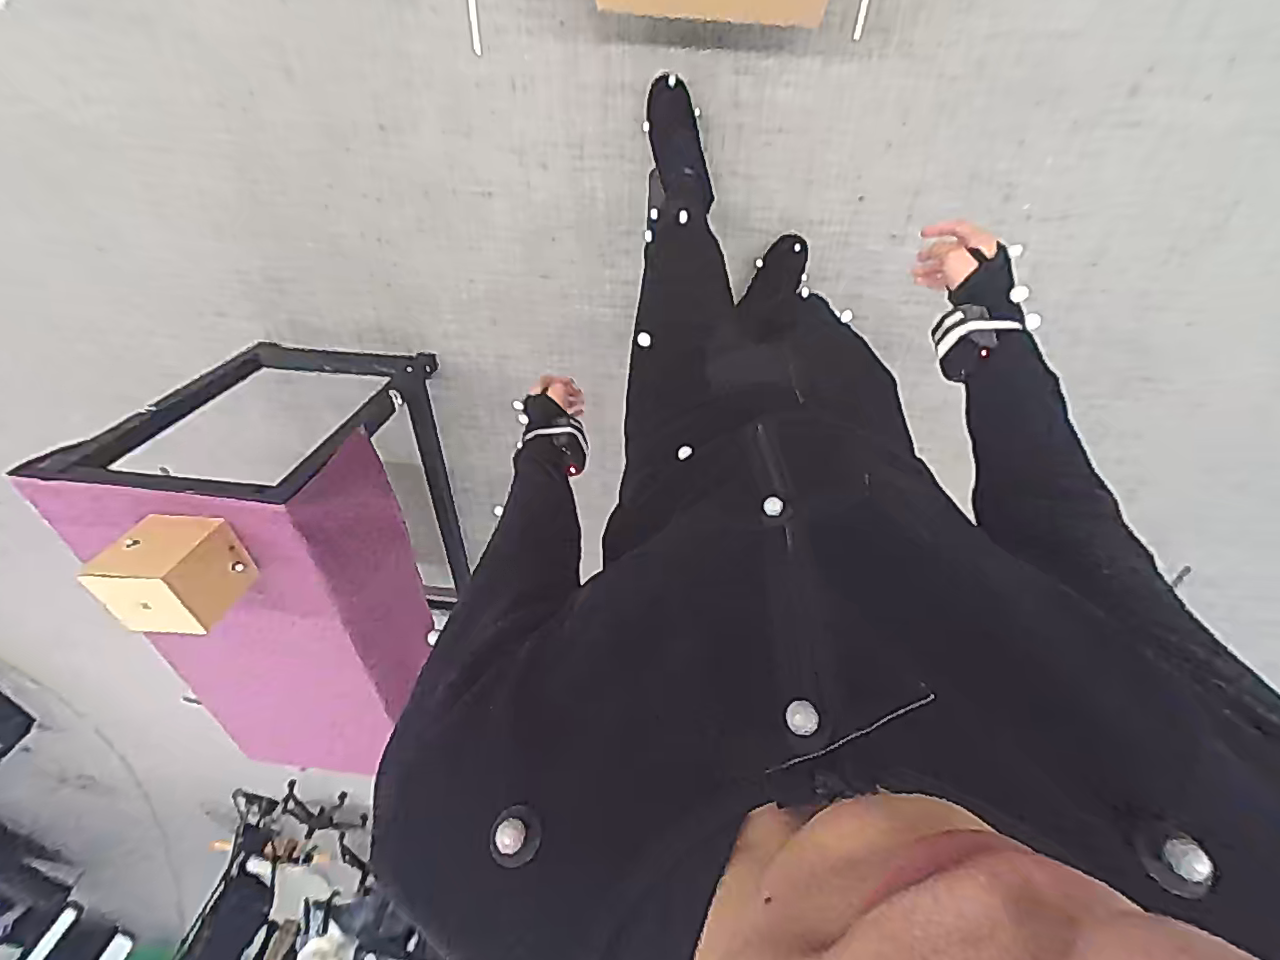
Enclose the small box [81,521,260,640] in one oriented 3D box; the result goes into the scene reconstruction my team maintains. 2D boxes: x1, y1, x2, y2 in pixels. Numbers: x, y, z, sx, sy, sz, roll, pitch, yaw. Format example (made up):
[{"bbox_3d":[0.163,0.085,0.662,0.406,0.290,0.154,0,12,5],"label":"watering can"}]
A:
[{"bbox_3d":[-0.932,0.198,1.093,0.179,0.176,0.168,3,128,7],"label":"small box"}]
